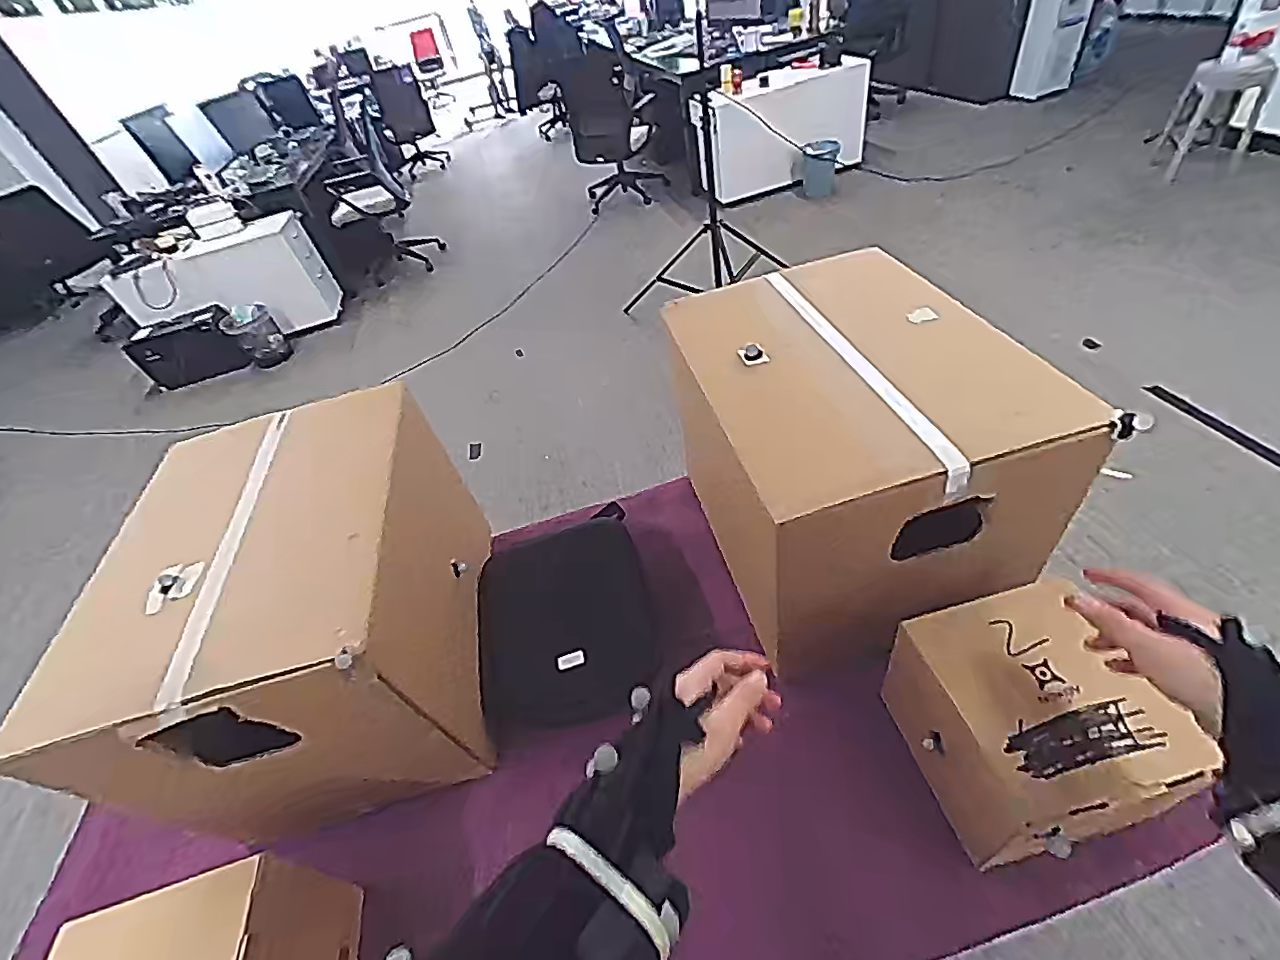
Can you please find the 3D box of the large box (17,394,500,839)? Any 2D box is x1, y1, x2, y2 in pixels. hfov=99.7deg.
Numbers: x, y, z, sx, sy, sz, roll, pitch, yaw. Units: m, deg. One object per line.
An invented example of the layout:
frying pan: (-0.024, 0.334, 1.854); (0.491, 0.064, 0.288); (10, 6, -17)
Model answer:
large box: (-0.386, 0.160, 0.686); (0.320, 0.320, 0.408); (-17, 47, -2)

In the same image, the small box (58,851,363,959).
small box: (-0.381, 0.469, 0.477); (0.179, 0.176, 0.168); (-18, 43, -4)
